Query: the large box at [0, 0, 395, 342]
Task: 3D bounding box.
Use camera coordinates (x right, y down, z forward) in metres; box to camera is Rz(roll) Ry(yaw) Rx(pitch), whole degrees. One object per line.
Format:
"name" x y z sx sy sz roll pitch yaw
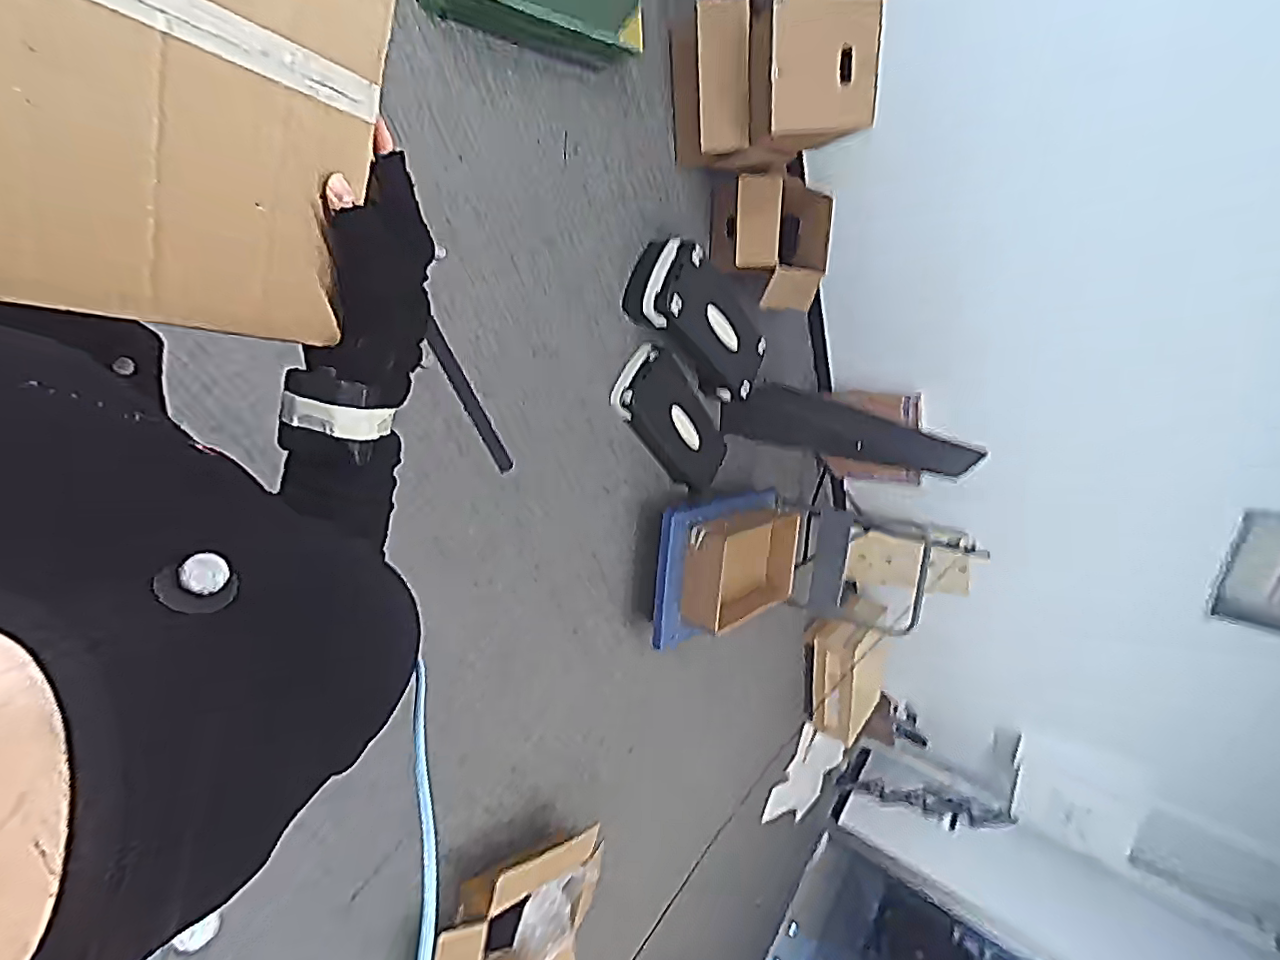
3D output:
"large box" -0.401 -0.297 0.288 0.408 0.320 0.320 -2 121 -47
